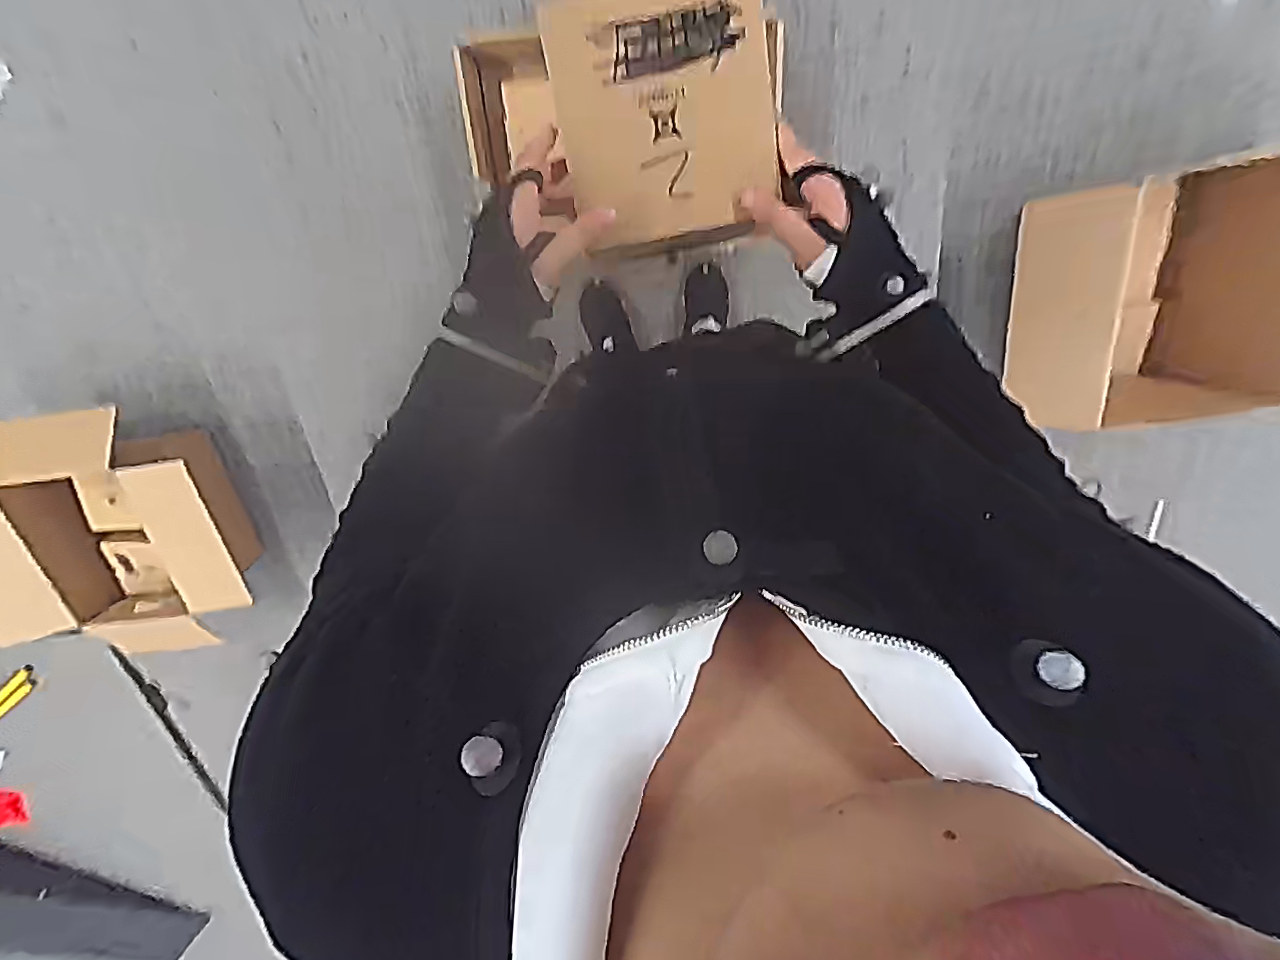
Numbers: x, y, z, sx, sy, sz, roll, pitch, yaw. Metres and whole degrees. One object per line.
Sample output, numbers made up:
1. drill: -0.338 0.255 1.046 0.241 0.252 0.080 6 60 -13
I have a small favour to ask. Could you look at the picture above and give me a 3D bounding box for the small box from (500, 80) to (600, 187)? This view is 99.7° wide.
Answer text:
1. small box: -0.177 -0.709 1.121 0.179 0.176 0.168 -4 116 -1
